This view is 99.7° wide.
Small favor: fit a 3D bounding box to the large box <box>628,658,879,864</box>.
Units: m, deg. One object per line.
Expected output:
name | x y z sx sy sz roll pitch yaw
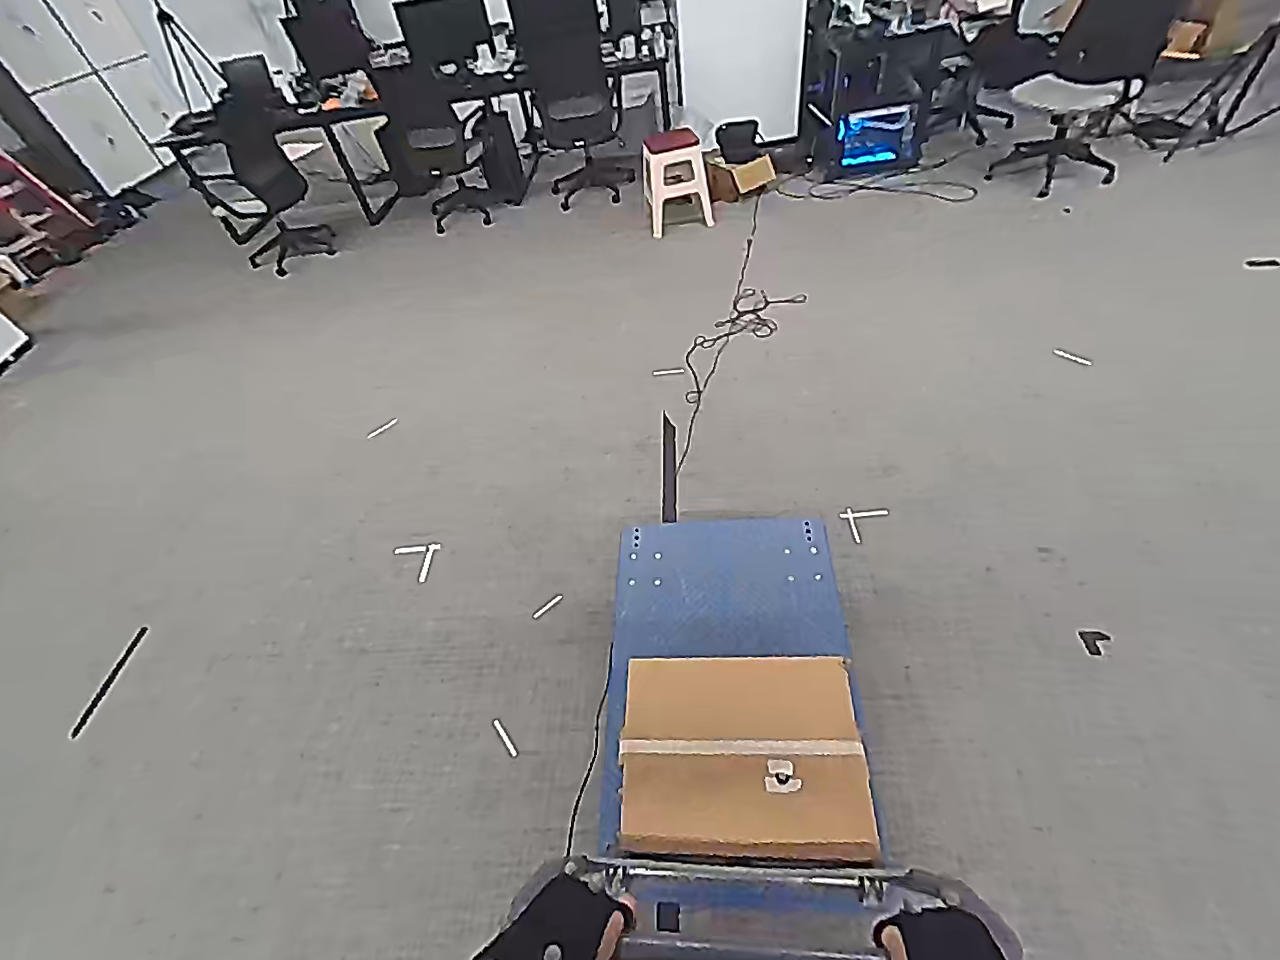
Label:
large box | 0.195 0.559 1.061 0.408 0.320 0.320 -3 54 7
